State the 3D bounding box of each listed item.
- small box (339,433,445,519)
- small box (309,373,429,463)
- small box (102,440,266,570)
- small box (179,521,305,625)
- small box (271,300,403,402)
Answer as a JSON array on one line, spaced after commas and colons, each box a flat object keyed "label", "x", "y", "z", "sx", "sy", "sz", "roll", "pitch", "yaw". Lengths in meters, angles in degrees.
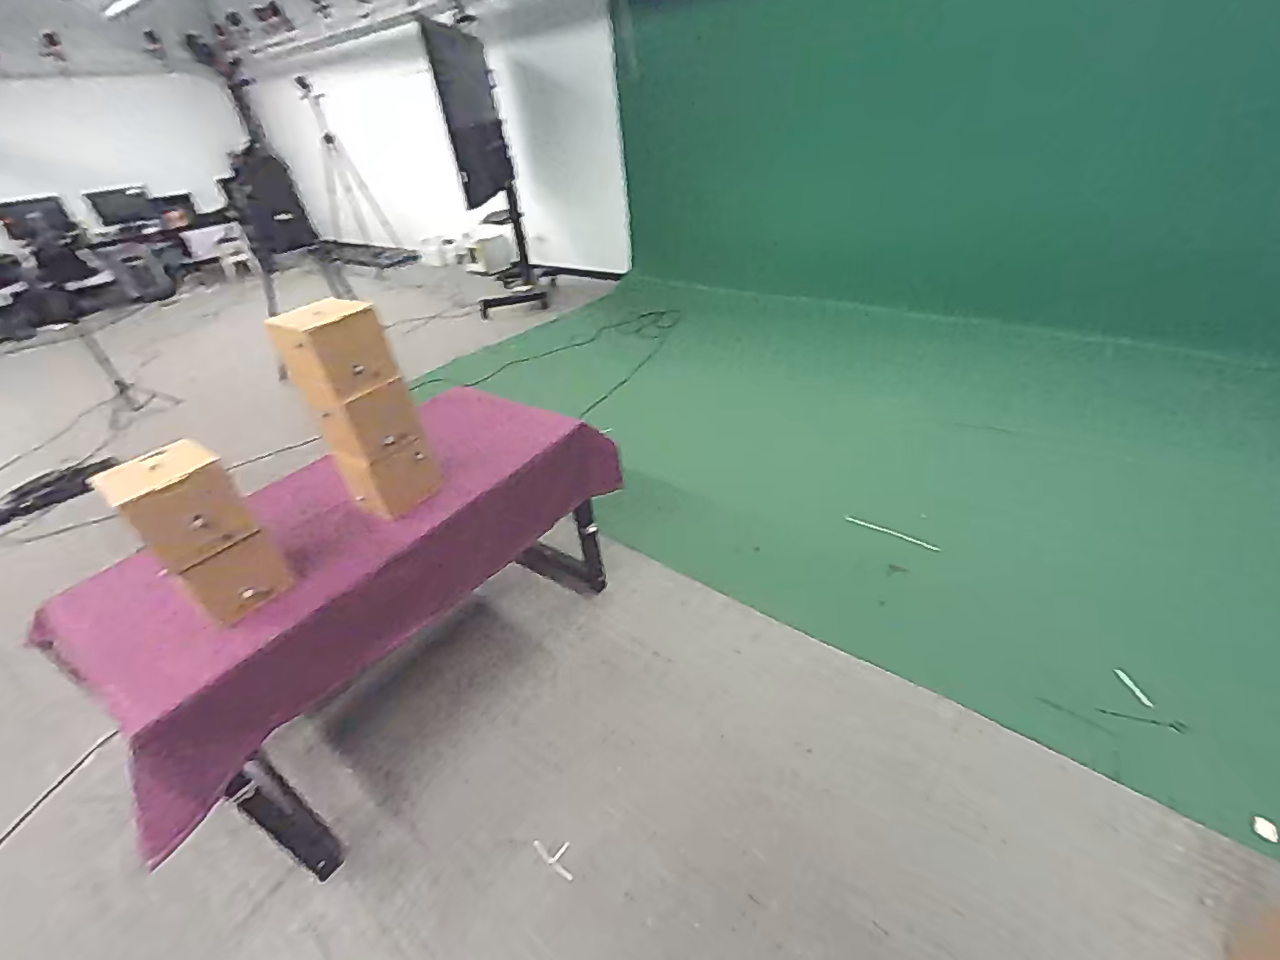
[{"label": "small box", "x": -0.632, "y": -0.029, "z": 1.406, "sx": 0.168, "sy": 0.176, "sz": 0.179, "roll": 18, "pitch": 42, "yaw": 32}, {"label": "small box", "x": -0.652, "y": -0.161, "z": 1.313, "sx": 0.179, "sy": 0.176, "sz": 0.168, "roll": 18, "pitch": 43, "yaw": 30}, {"label": "small box", "x": -0.880, "y": 0.049, "z": 1.057, "sx": 0.179, "sy": 0.176, "sz": 0.168, "roll": 21, "pitch": 43, "yaw": 32}, {"label": "small box", "x": -0.867, "y": 0.178, "z": 1.159, "sx": 0.179, "sy": 0.176, "sz": 0.168, "roll": 20, "pitch": 44, "yaw": 32}, {"label": "small box", "x": -0.676, "y": -0.292, "z": 1.220, "sx": 0.179, "sy": 0.176, "sz": 0.168, "roll": 16, "pitch": 42, "yaw": 28}]
